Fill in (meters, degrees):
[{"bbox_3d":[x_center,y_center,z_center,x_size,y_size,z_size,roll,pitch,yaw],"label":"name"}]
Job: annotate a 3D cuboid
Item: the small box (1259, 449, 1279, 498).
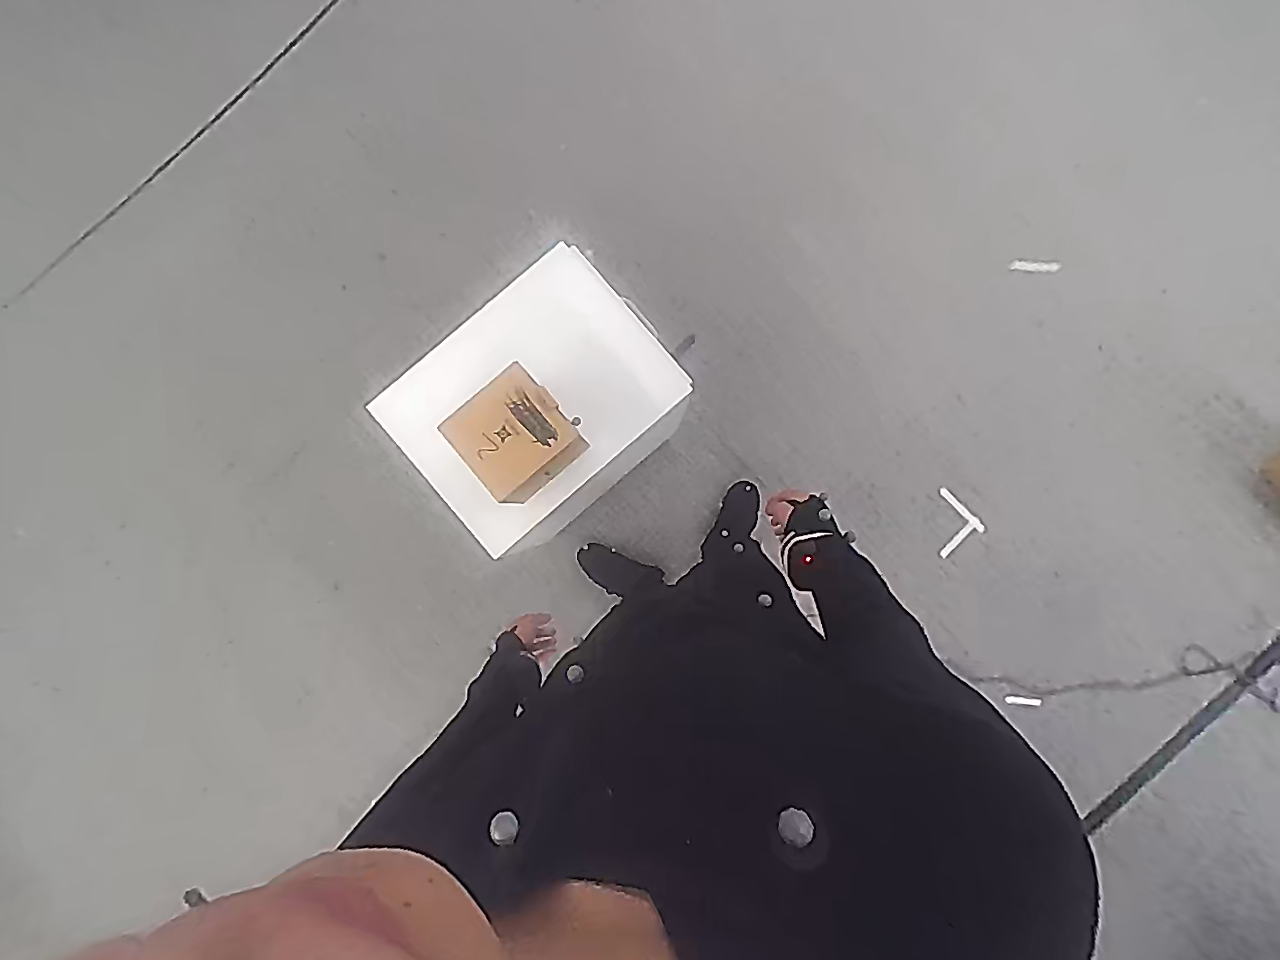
[{"bbox_3d":[1.974,-0.031,1.550,0.179,0.176,0.168,-37,88,-1],"label":"small box"}]
